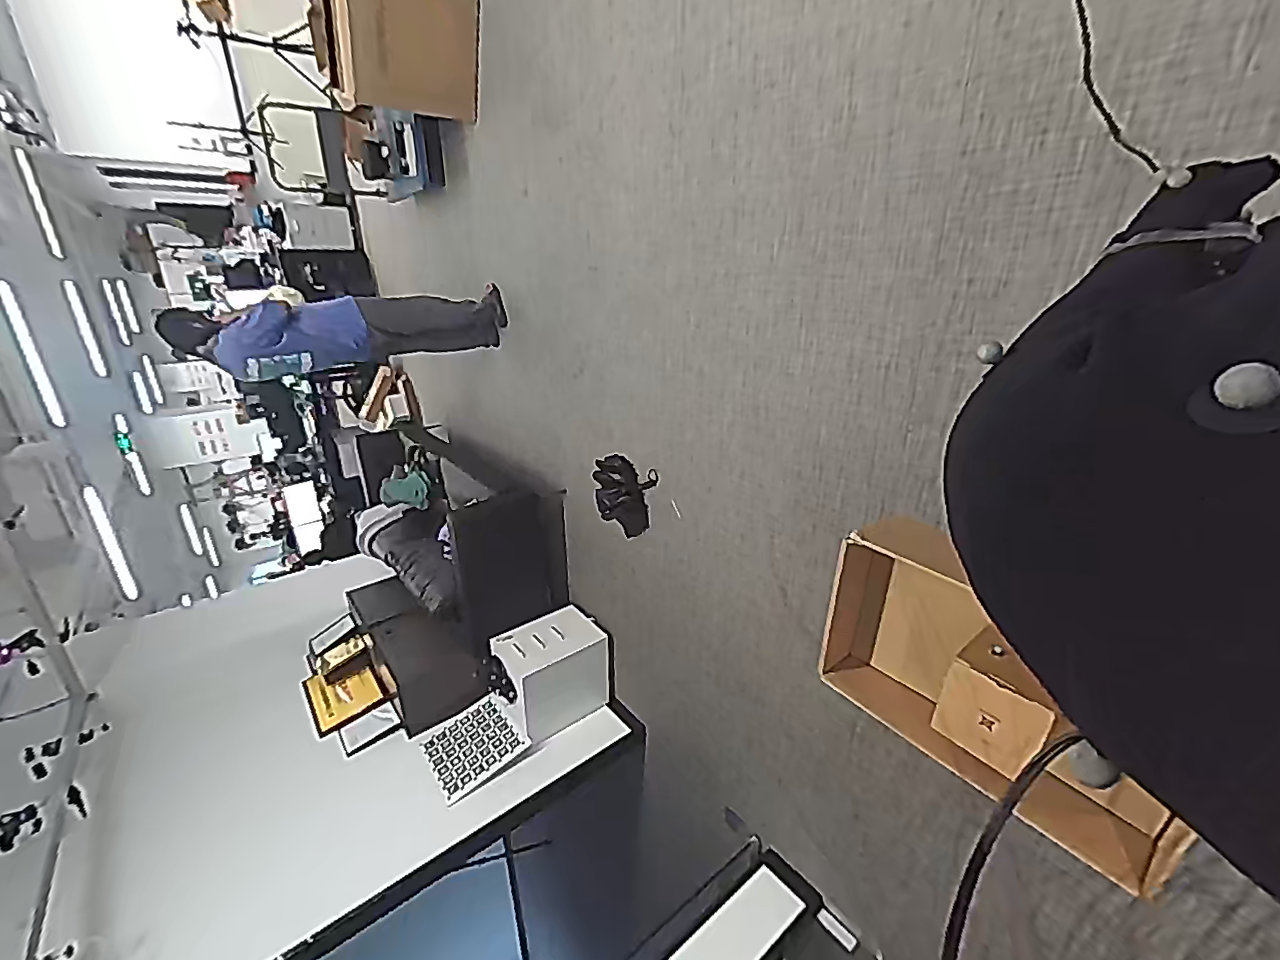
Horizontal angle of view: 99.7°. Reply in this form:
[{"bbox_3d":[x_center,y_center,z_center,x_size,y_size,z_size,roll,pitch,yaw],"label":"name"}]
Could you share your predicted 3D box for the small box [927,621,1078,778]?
[{"bbox_3d":[0.674,0.395,1.006,0.168,0.176,0.179,29,128,47],"label":"small box"}]
